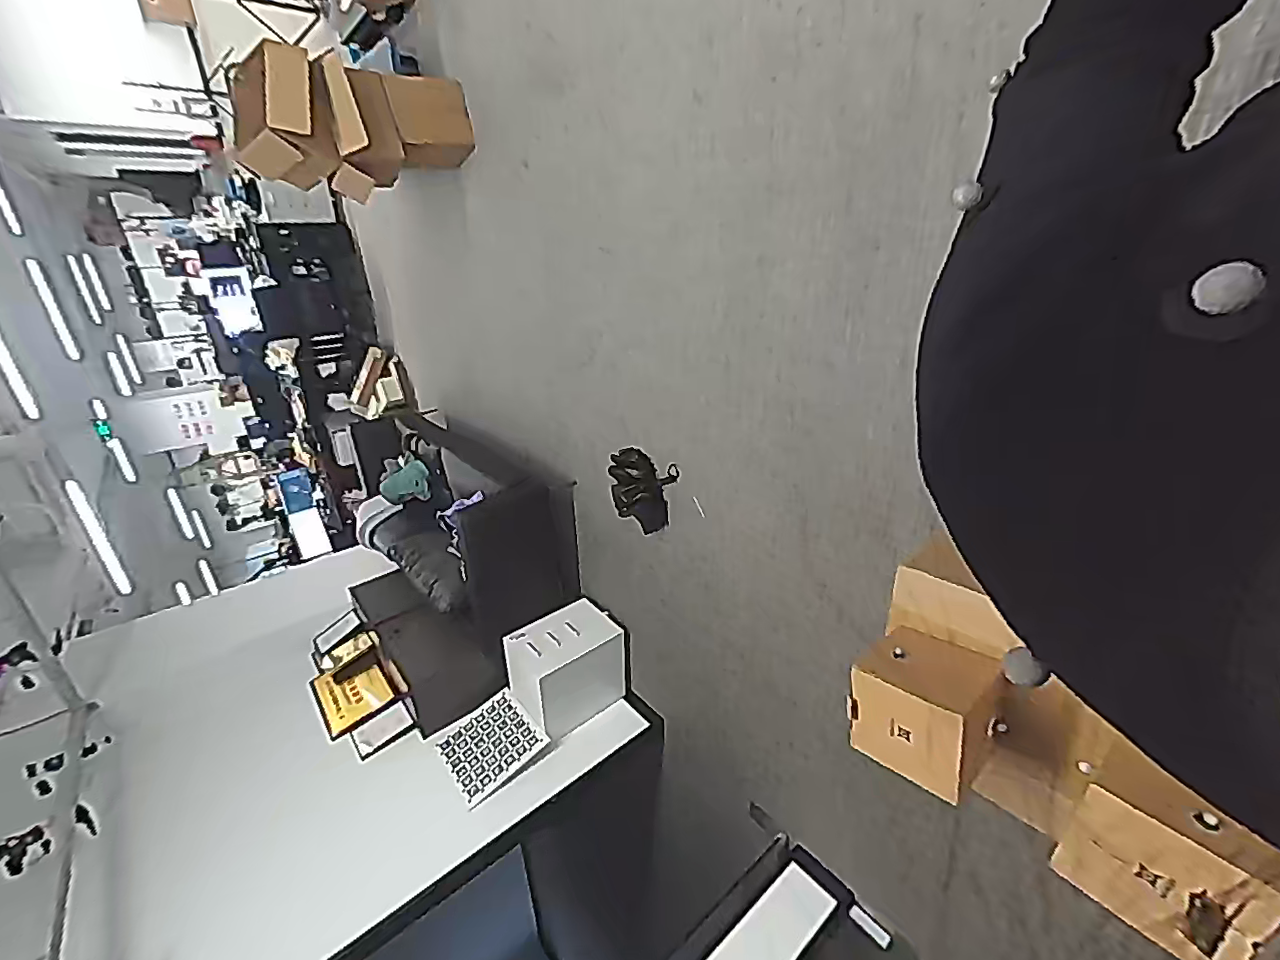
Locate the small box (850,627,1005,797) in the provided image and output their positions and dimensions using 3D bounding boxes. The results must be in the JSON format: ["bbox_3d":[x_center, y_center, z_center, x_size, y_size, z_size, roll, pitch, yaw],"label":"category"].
[{"bbox_3d":[0.474,0.369,0.903,0.179,0.176,0.168,13,115,49],"label":"small box"}]

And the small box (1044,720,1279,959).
[{"bbox_3d":[0.662,0.445,0.683,0.179,0.176,0.168,28,125,45],"label":"small box"}]
